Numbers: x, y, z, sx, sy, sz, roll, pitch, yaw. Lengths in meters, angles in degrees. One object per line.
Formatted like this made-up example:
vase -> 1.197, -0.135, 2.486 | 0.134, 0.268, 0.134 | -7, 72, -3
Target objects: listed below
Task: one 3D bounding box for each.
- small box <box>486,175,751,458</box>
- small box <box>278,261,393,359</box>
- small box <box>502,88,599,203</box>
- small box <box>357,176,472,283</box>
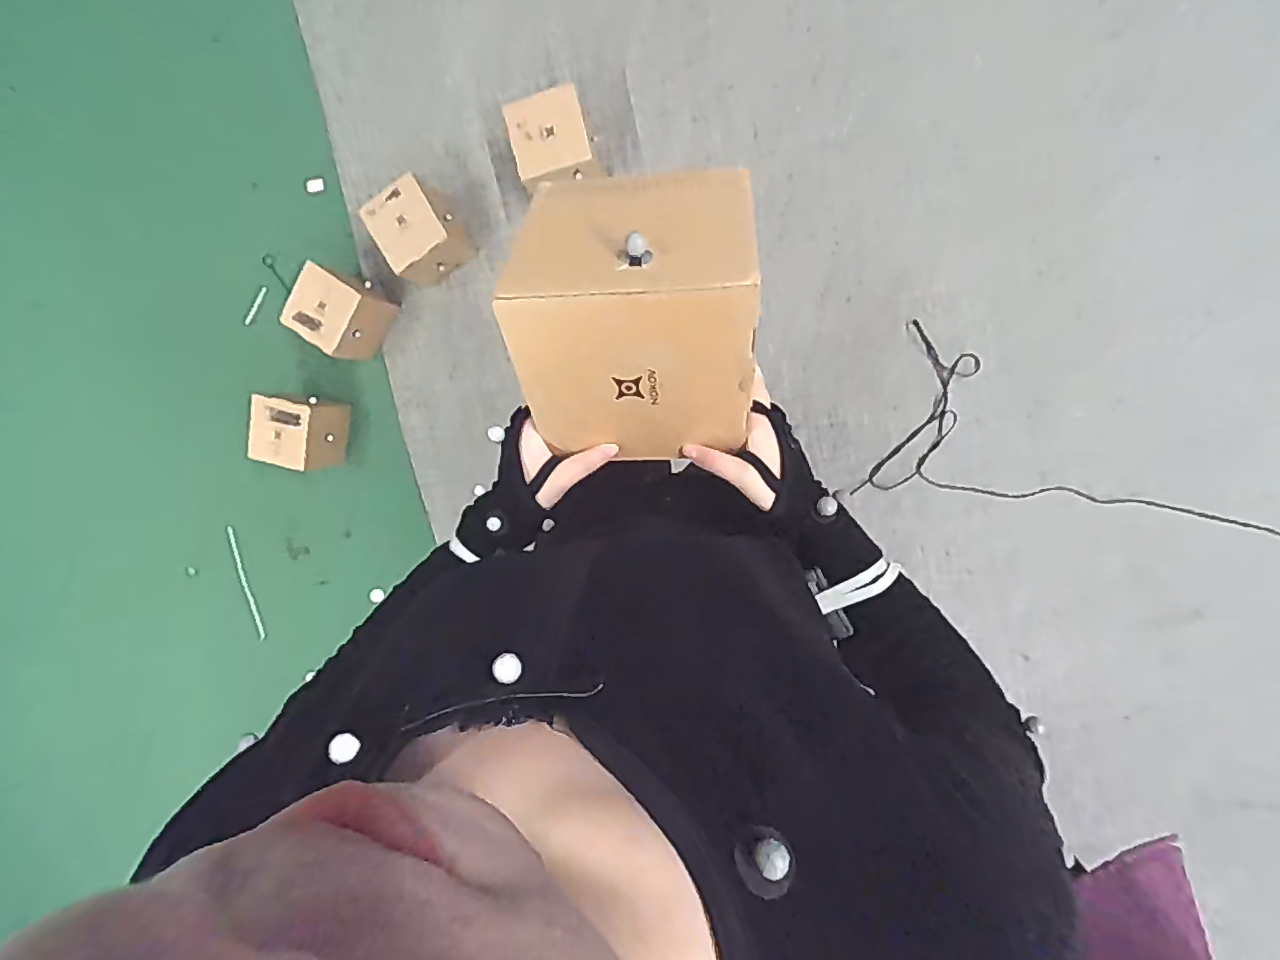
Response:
small box -> -0.005, -0.136, 0.457 | 0.179, 0.176, 0.168 | 0, 141, 6
small box -> -0.790, -0.436, 1.420 | 0.168, 0.176, 0.179 | 35, 101, 1
small box -> -0.203, -0.783, 1.292 | 0.179, 0.176, 0.168 | -12, 97, 8
small box -> -0.558, -0.616, 1.363 | 0.168, 0.176, 0.179 | -29, 95, 11
